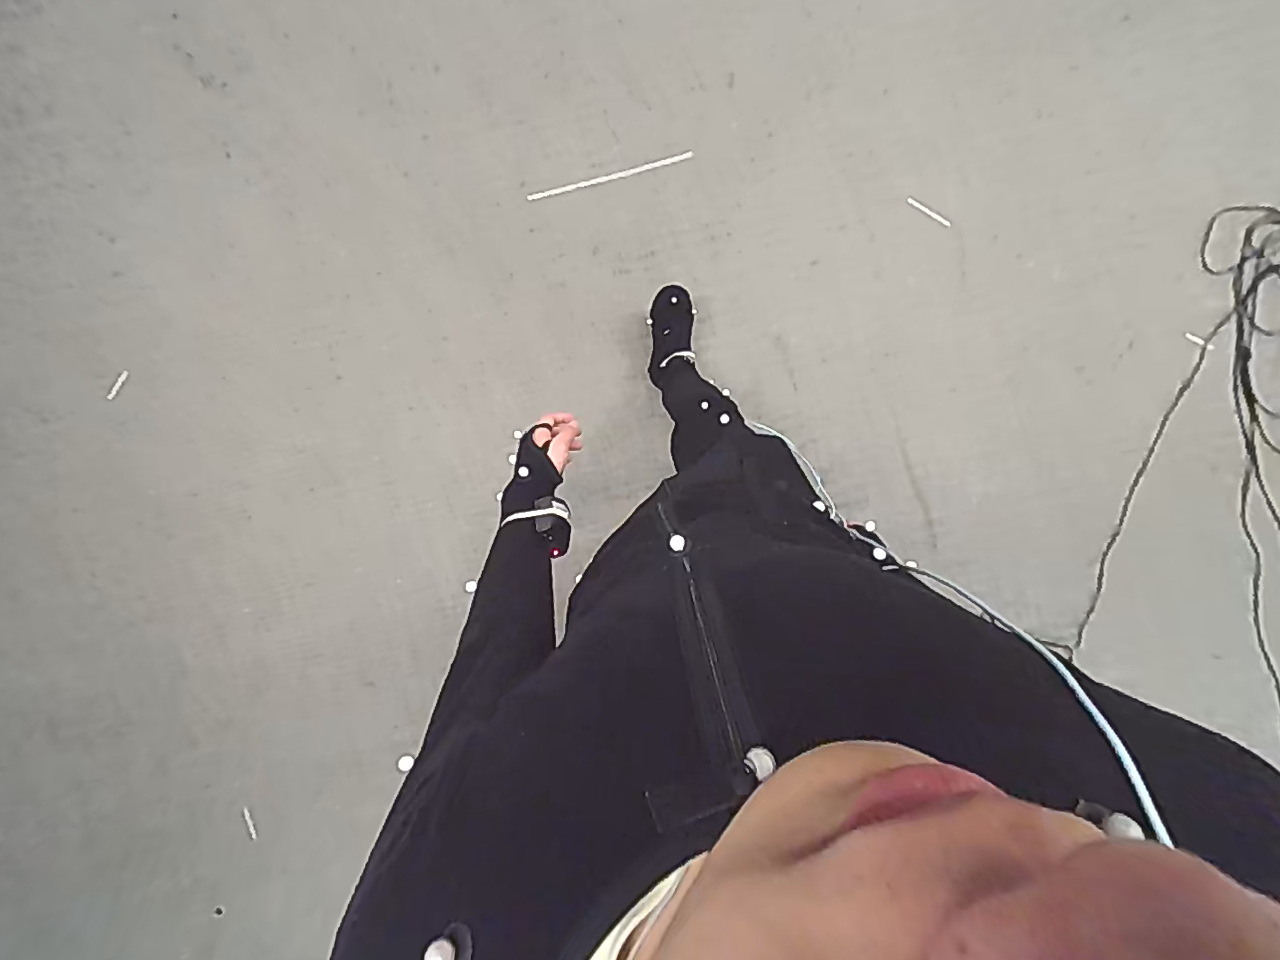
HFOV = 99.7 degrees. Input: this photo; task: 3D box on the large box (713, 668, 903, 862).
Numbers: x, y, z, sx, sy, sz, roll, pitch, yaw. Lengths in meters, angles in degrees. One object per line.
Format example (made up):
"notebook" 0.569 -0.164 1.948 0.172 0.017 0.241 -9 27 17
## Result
"large box" 0.453 0.784 1.535 0.408 0.320 0.320 -15 94 3
